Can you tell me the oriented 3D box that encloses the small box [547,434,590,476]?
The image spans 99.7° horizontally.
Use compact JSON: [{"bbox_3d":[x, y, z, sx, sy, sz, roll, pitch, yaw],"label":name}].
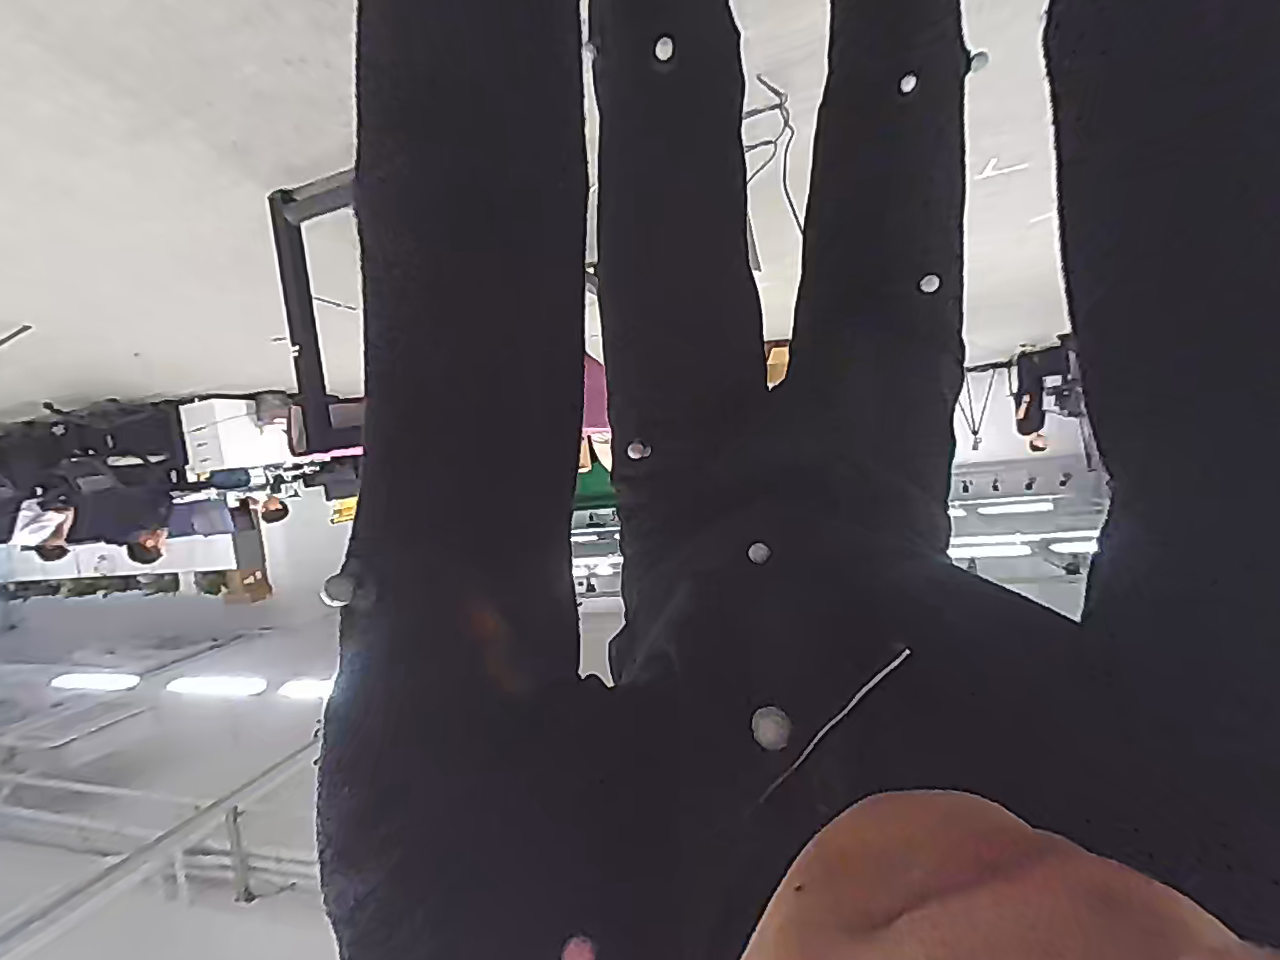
[{"bbox_3d":[-0.339,-0.108,2.317,0.179,0.176,0.168,-4,-176,29],"label":"small box"}]
